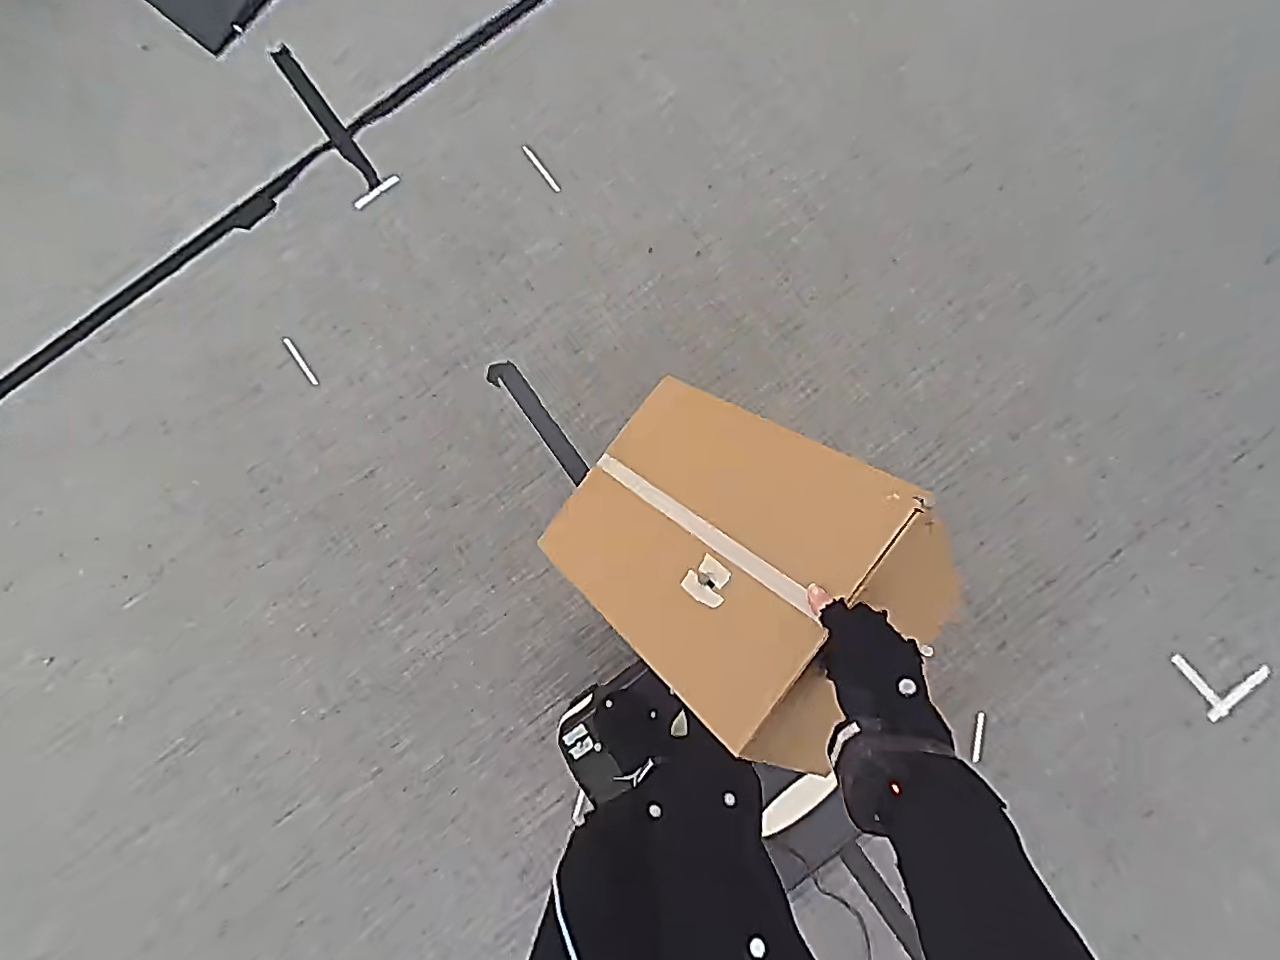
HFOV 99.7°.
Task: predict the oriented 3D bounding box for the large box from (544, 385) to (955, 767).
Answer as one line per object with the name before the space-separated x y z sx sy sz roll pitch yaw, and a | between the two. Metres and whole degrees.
large box | 0.148 0.123 0.755 0.408 0.320 0.320 34 87 42

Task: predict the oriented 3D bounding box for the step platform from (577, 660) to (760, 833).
step platform | 0.198 0.422 1.177 0.684 0.204 0.286 -38 83 -3
